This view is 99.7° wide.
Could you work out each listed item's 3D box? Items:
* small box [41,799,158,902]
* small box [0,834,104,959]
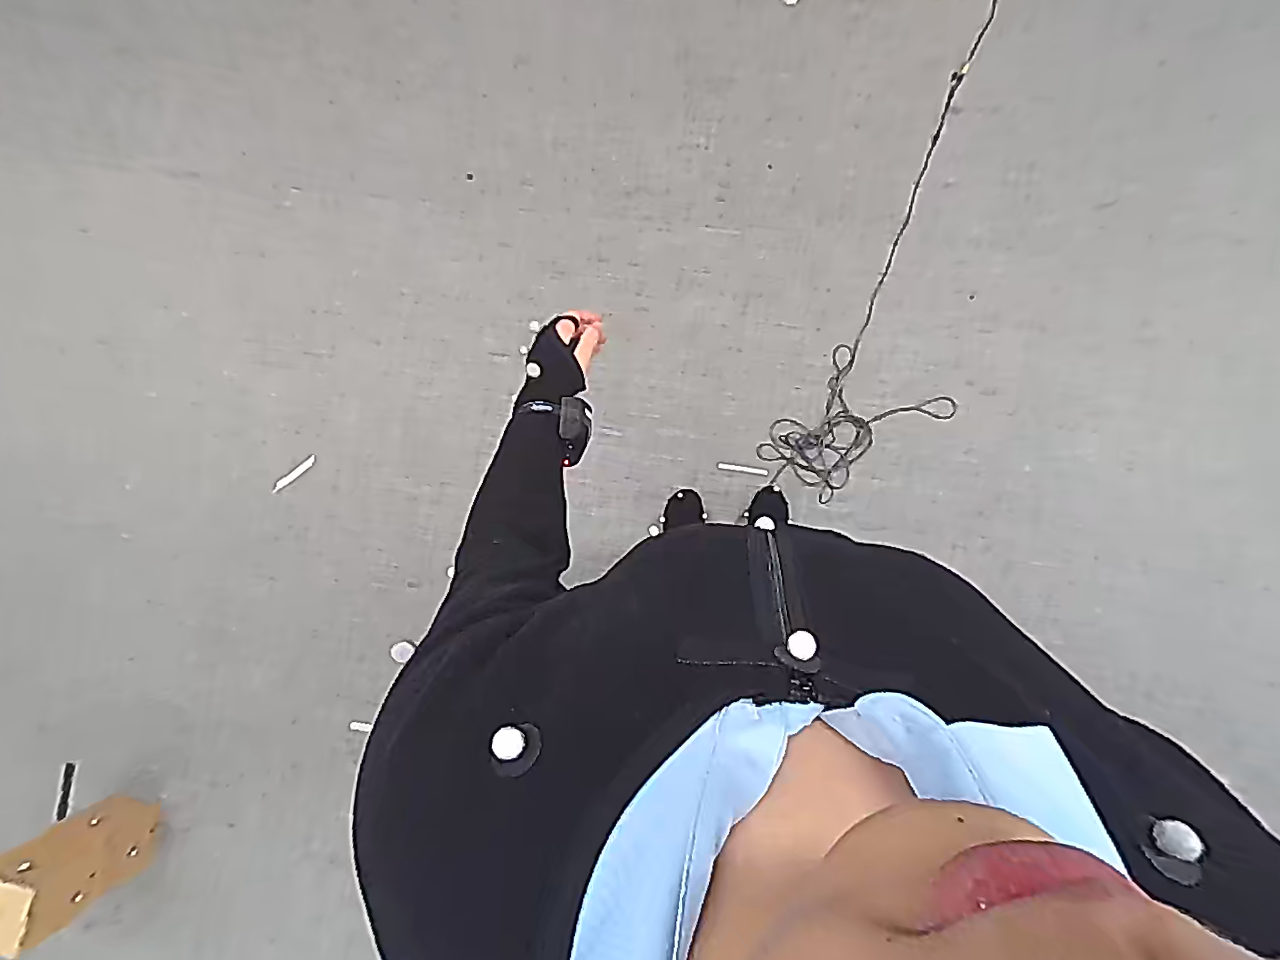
[{"bbox_3d":[-1.502,1.021,1.504,0.179,0.176,0.168,6,87,5],"label":"small box"},{"bbox_3d":[-1.511,1.019,1.341,0.179,0.176,0.168,13,88,4],"label":"small box"}]
